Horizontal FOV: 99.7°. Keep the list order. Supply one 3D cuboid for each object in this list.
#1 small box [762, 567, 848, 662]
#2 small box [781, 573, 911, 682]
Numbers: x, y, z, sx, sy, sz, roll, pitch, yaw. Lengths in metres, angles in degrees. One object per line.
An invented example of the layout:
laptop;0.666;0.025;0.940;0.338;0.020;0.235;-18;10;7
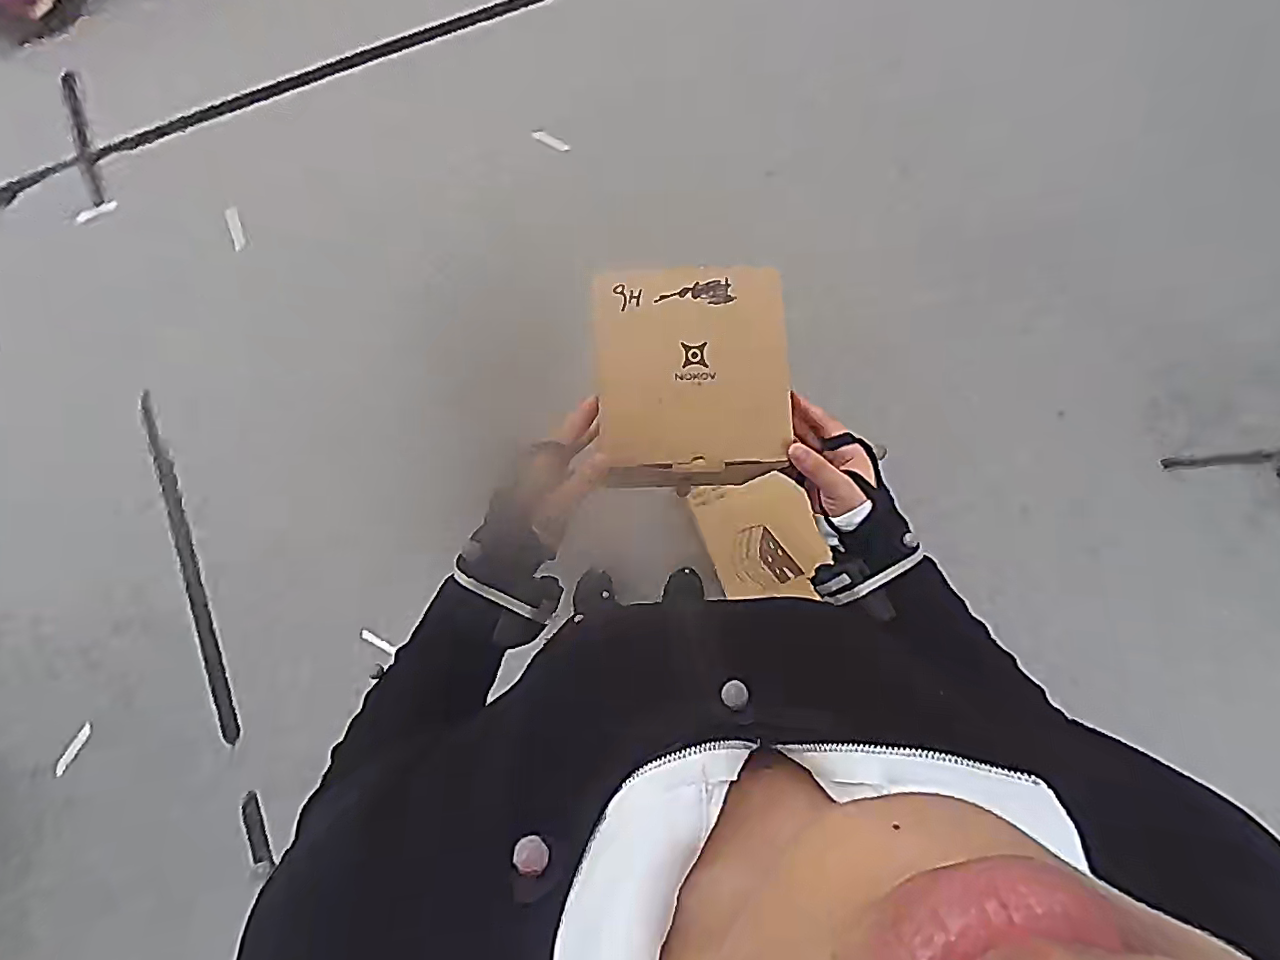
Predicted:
small box;0.415;0.313;1.293;0.179;0.176;0.168;-22;82;-3
small box;0.419;0.297;1.129;0.179;0.176;0.168;-18;82;-2
